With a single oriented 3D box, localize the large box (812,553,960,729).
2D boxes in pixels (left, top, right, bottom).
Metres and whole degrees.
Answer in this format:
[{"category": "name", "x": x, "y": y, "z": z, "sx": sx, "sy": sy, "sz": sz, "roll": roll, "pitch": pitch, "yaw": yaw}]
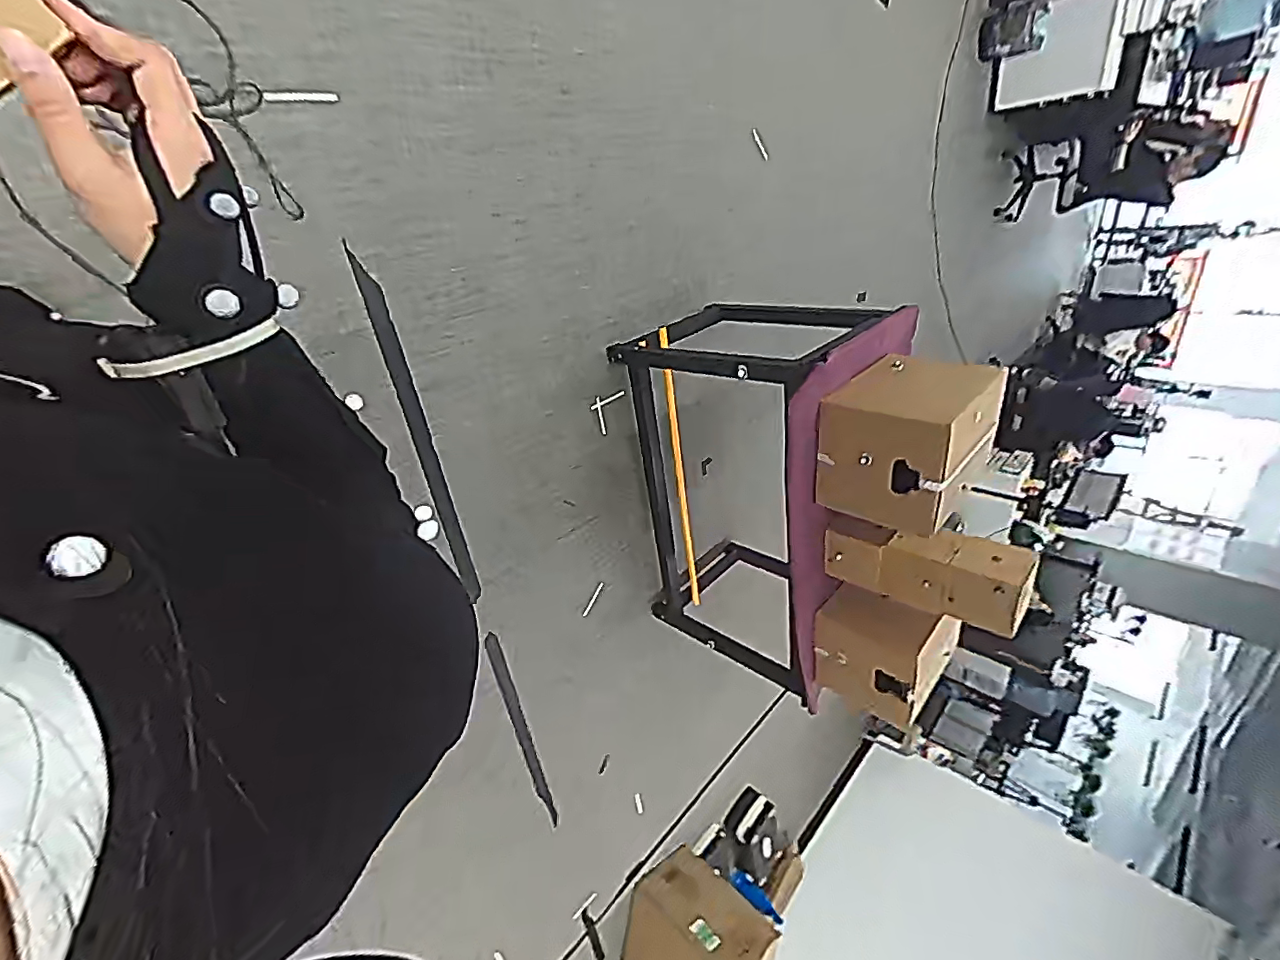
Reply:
[{"category": "large box", "x": 0.799, "y": 0.503, "z": 1.770, "sx": 0.408, "sy": 0.320, "sz": 0.320, "roll": -32, "pitch": 126, "yaw": -36}]
